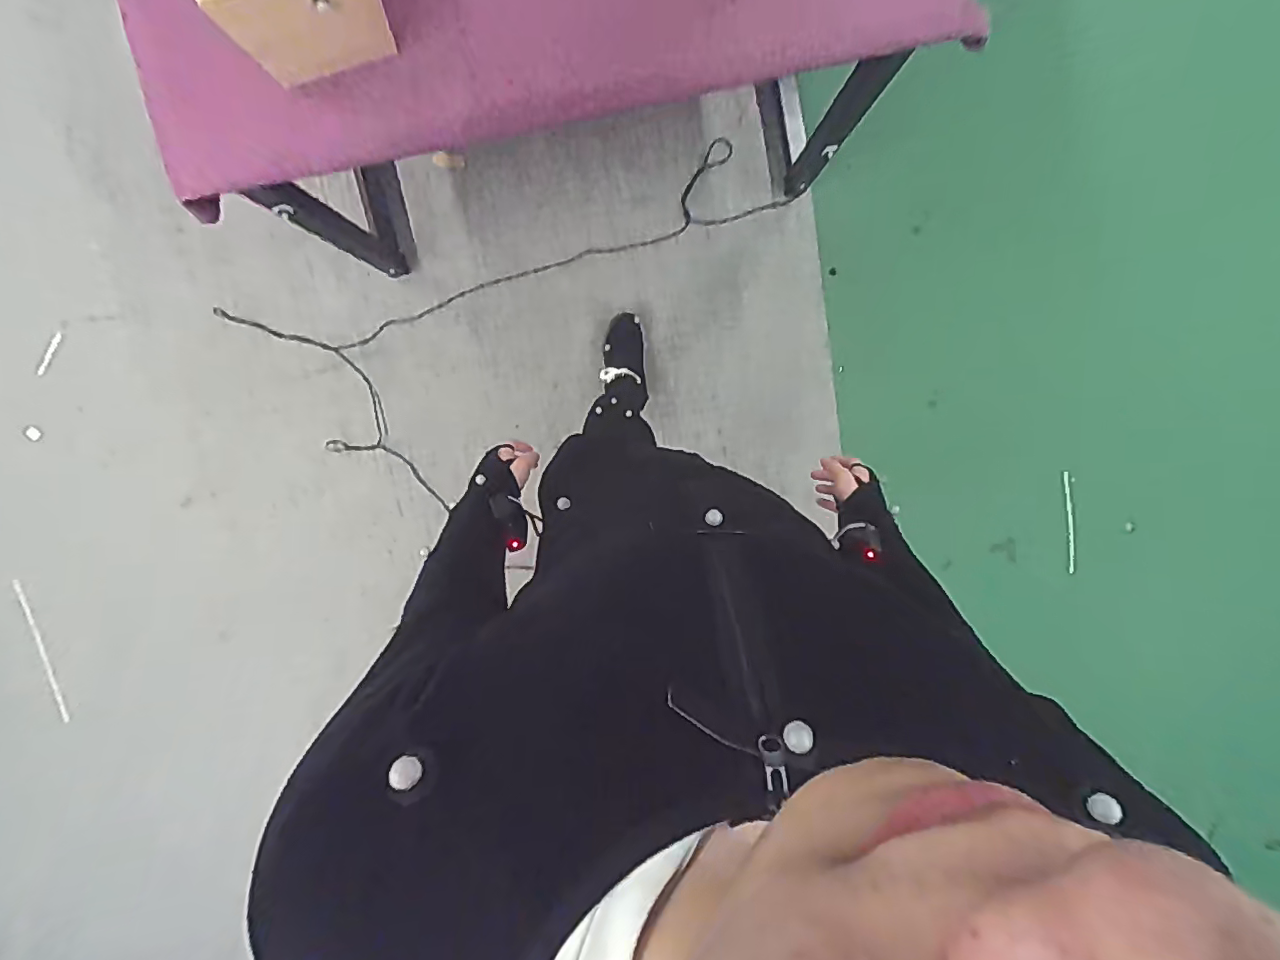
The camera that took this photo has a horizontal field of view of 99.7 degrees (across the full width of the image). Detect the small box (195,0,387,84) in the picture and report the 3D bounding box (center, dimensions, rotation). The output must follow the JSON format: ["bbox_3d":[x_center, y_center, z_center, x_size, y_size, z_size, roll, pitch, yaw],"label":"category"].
[{"bbox_3d":[-0.453,-0.659,0.693,0.179,0.176,0.168,-16,97,2],"label":"small box"}]
